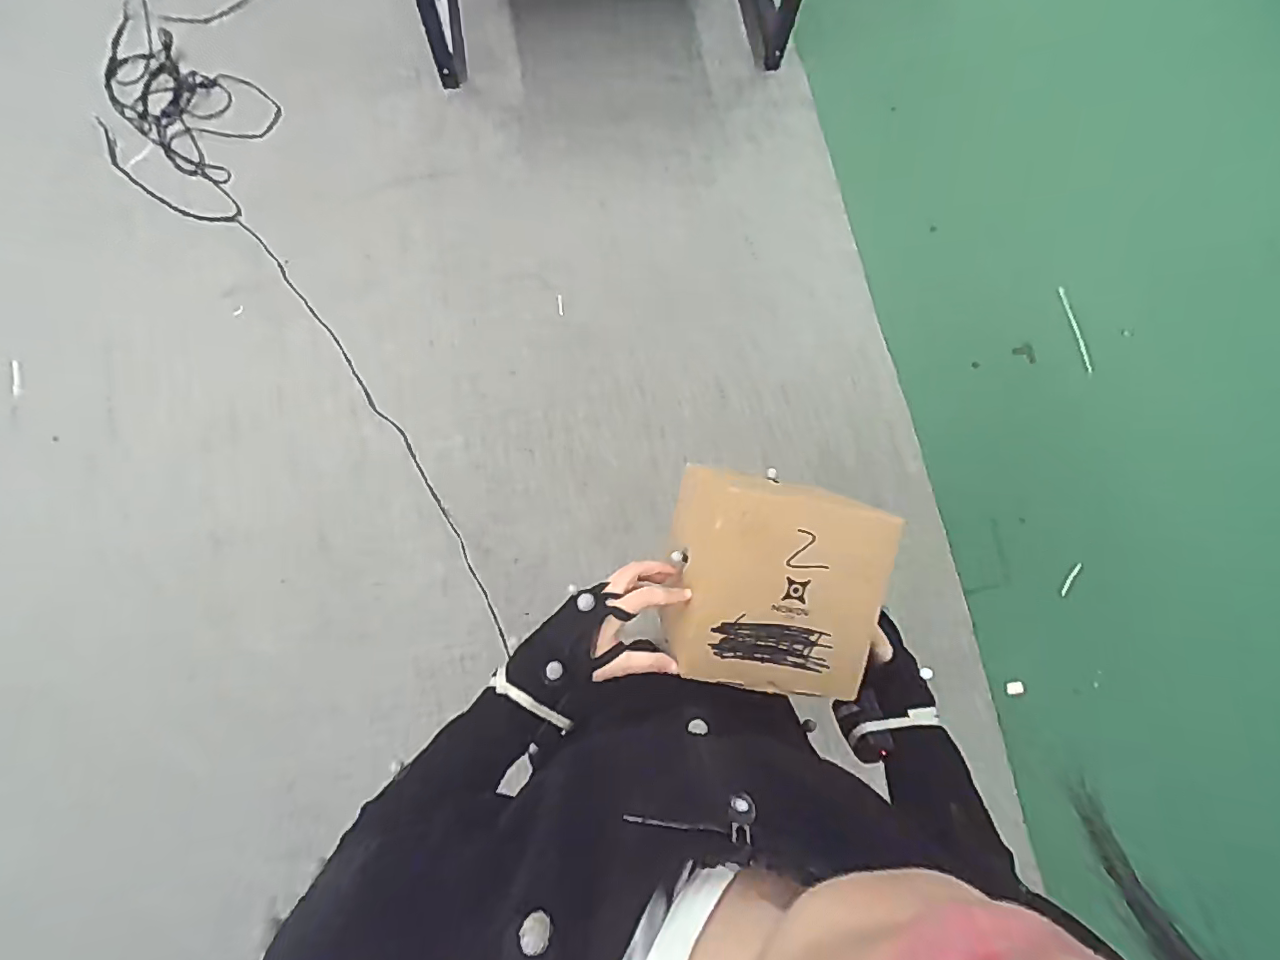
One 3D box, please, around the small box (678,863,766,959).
[{"bbox_3d":[0.187,1.035,1.257,0.168,0.176,0.179,-4,76,-6],"label":"small box"}]
